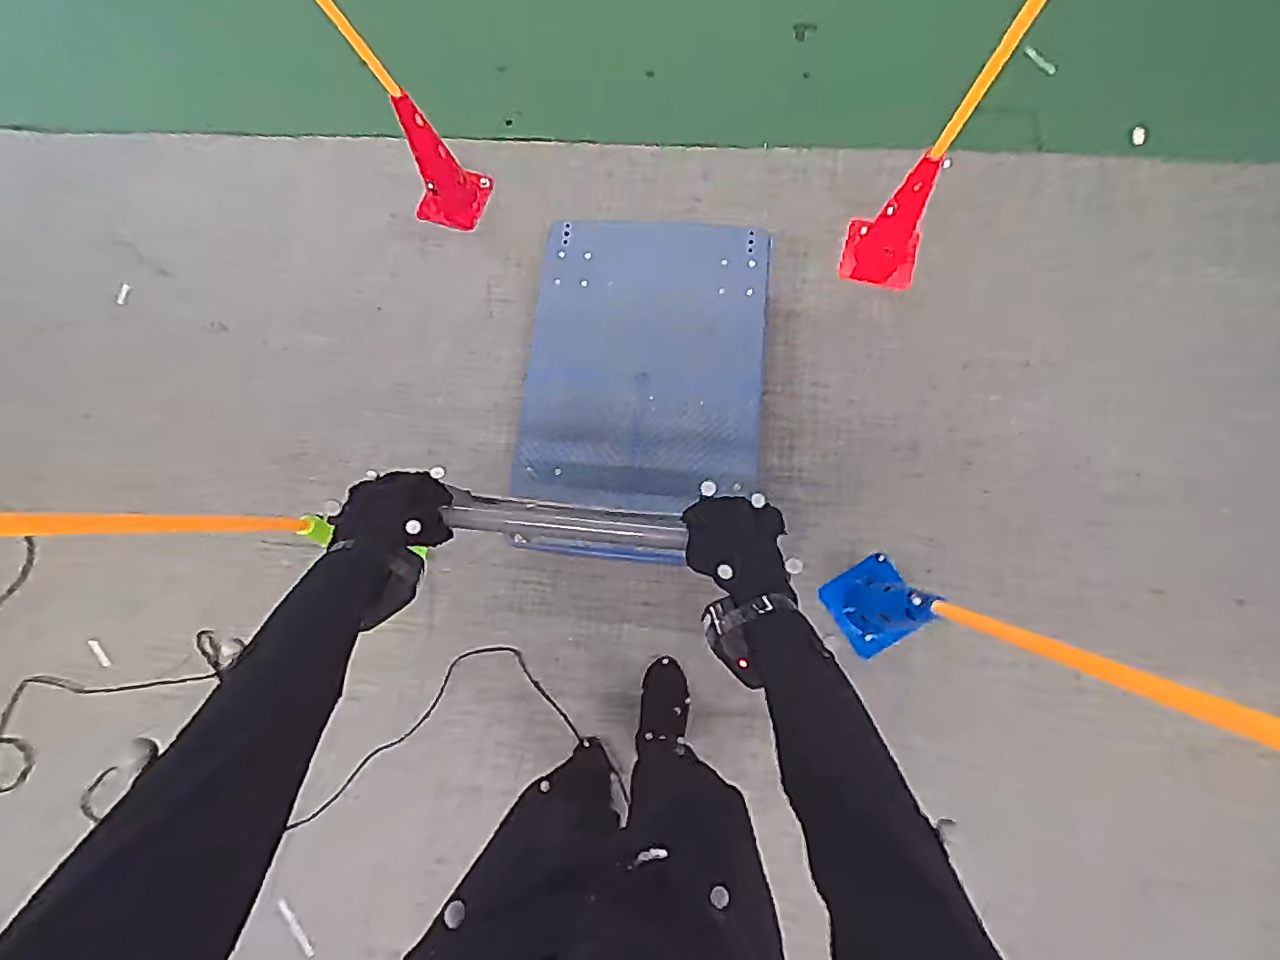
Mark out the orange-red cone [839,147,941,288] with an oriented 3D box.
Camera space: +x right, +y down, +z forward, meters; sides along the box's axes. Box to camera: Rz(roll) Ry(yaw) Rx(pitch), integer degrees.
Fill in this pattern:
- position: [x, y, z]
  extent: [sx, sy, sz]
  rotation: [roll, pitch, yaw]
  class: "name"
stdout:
- position: [0.668, -0.685, 1.372]
  extent: [0.198, 0.360, 0.199]
  rotation: [16, 79, 8]
  class: "orange-red cone"
